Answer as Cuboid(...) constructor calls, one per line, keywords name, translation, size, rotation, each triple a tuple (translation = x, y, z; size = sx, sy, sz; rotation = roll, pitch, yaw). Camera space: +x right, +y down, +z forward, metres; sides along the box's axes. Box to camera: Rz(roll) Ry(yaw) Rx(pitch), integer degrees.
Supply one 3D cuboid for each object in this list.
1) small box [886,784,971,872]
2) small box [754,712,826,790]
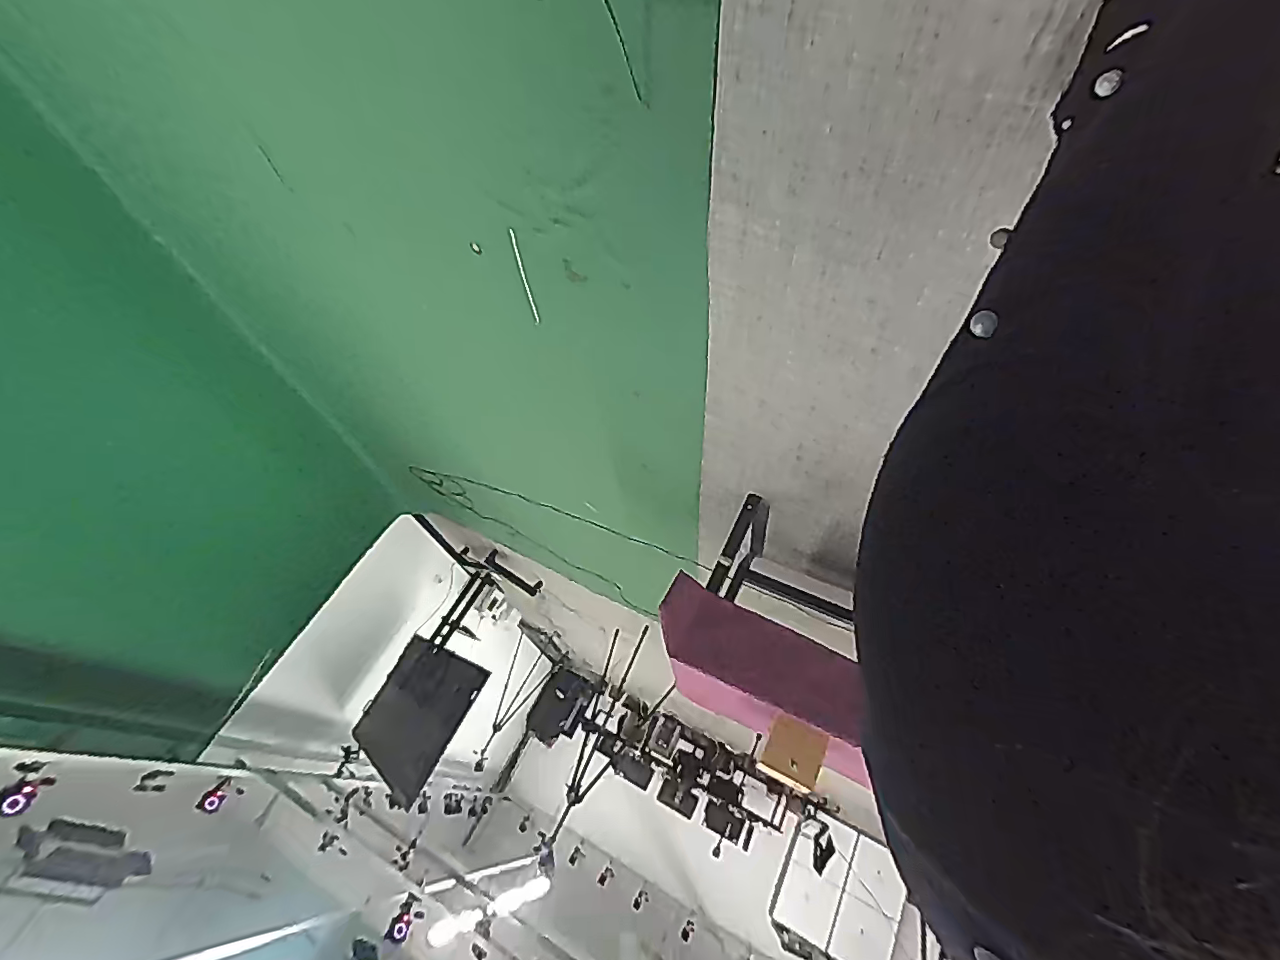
Cuboid(name="small box", translation=(0.879, 1.049, 1.645), size=(0.168, 0.176, 0.179), rotation=(22, 154, 18))
Cuboid(name="small box", translation=(0.495, 0.894, 1.783), size=(0.179, 0.176, 0.168), rotation=(22, 153, 19))
